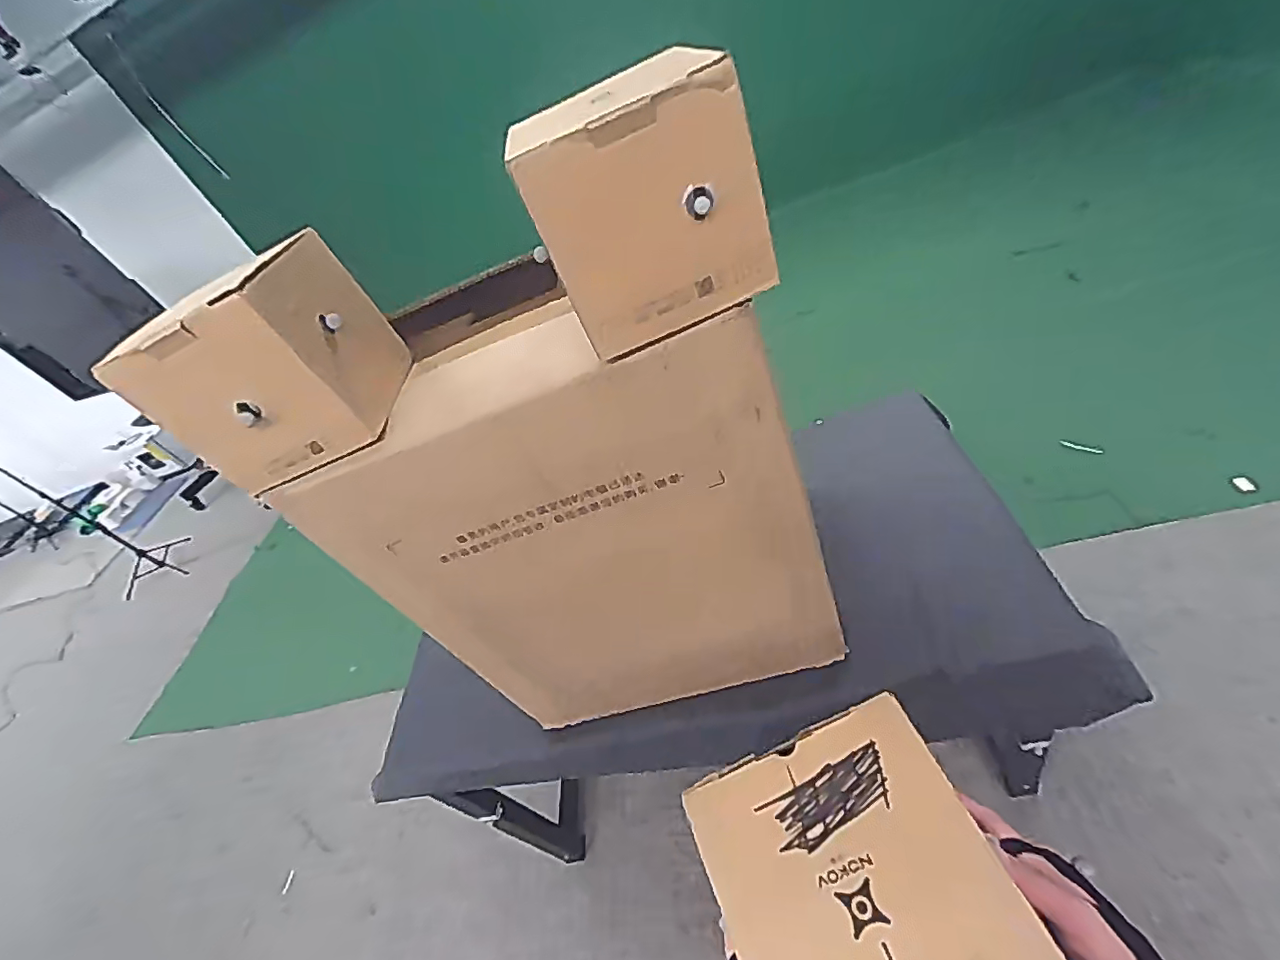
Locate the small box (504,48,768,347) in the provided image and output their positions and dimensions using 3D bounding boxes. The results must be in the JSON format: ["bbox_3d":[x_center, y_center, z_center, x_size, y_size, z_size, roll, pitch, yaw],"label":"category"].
[{"bbox_3d":[-0.002,-0.238,0.470,0.168,0.176,0.179,-21,40,6],"label":"small box"}]

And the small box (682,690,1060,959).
[{"bbox_3d":[0.152,0.285,0.386,0.168,0.176,0.179,-28,51,4],"label":"small box"}]

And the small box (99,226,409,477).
[{"bbox_3d":[-0.371,-0.124,0.563,0.168,0.176,0.179,-21,41,11],"label":"small box"}]
